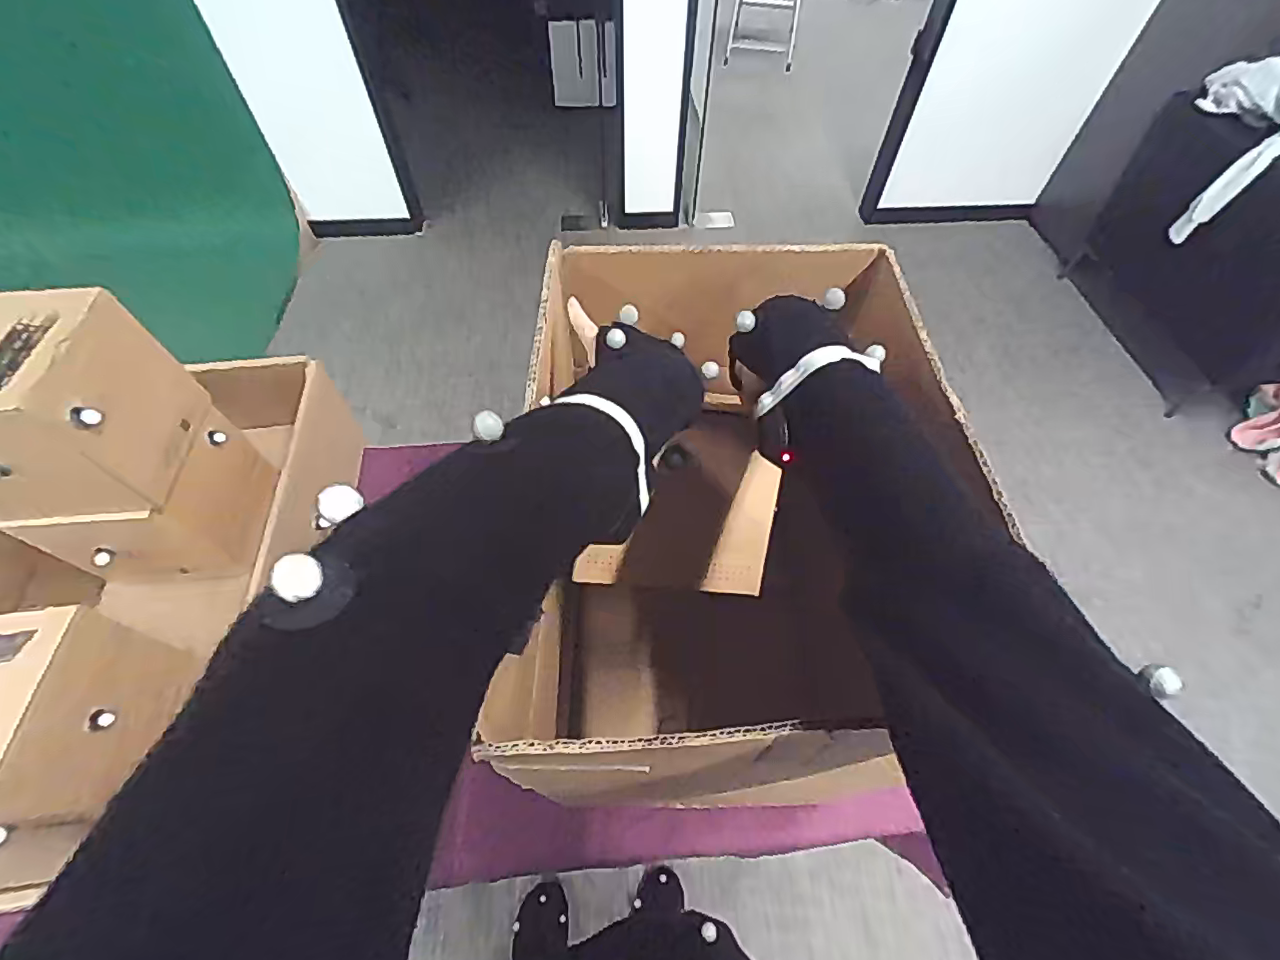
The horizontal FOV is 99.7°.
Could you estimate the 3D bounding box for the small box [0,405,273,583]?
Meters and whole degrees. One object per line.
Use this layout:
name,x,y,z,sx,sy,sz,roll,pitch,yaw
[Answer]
small box,-0.623,0.026,0.703,0.168,0.176,0.179,-3,56,-2
